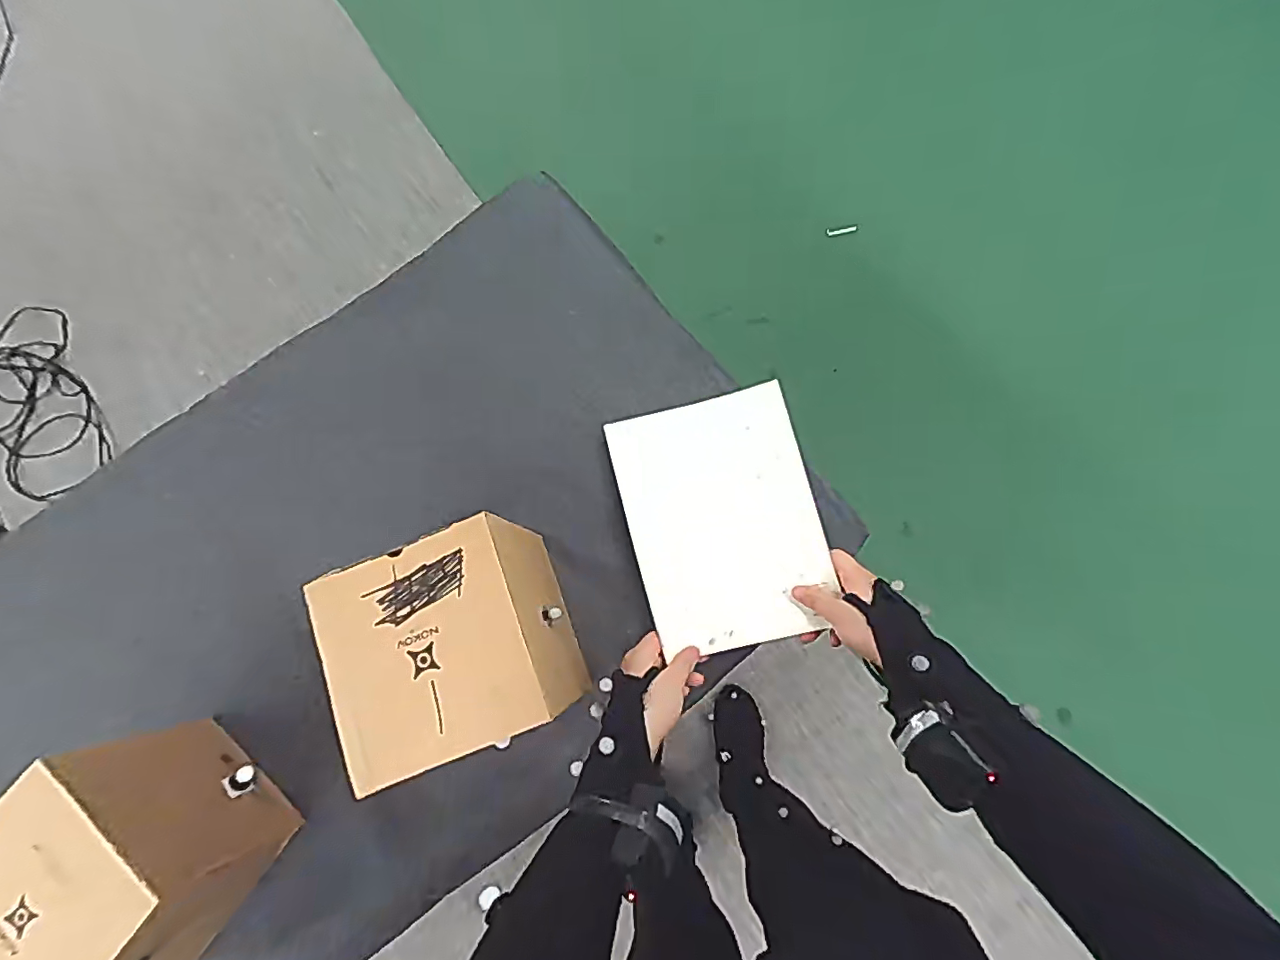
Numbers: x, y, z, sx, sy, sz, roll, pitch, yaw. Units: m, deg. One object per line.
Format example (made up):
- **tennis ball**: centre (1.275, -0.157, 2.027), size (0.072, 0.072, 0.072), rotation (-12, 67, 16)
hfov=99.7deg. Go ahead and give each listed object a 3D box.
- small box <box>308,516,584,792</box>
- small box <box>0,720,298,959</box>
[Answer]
- **small box**: centre (-0.168, 0.153, 0.515), size (0.168, 0.176, 0.179), rotation (-22, 78, 1)
- **small box**: centre (-0.477, 0.361, 0.505), size (0.168, 0.176, 0.179), rotation (36, 82, 10)
